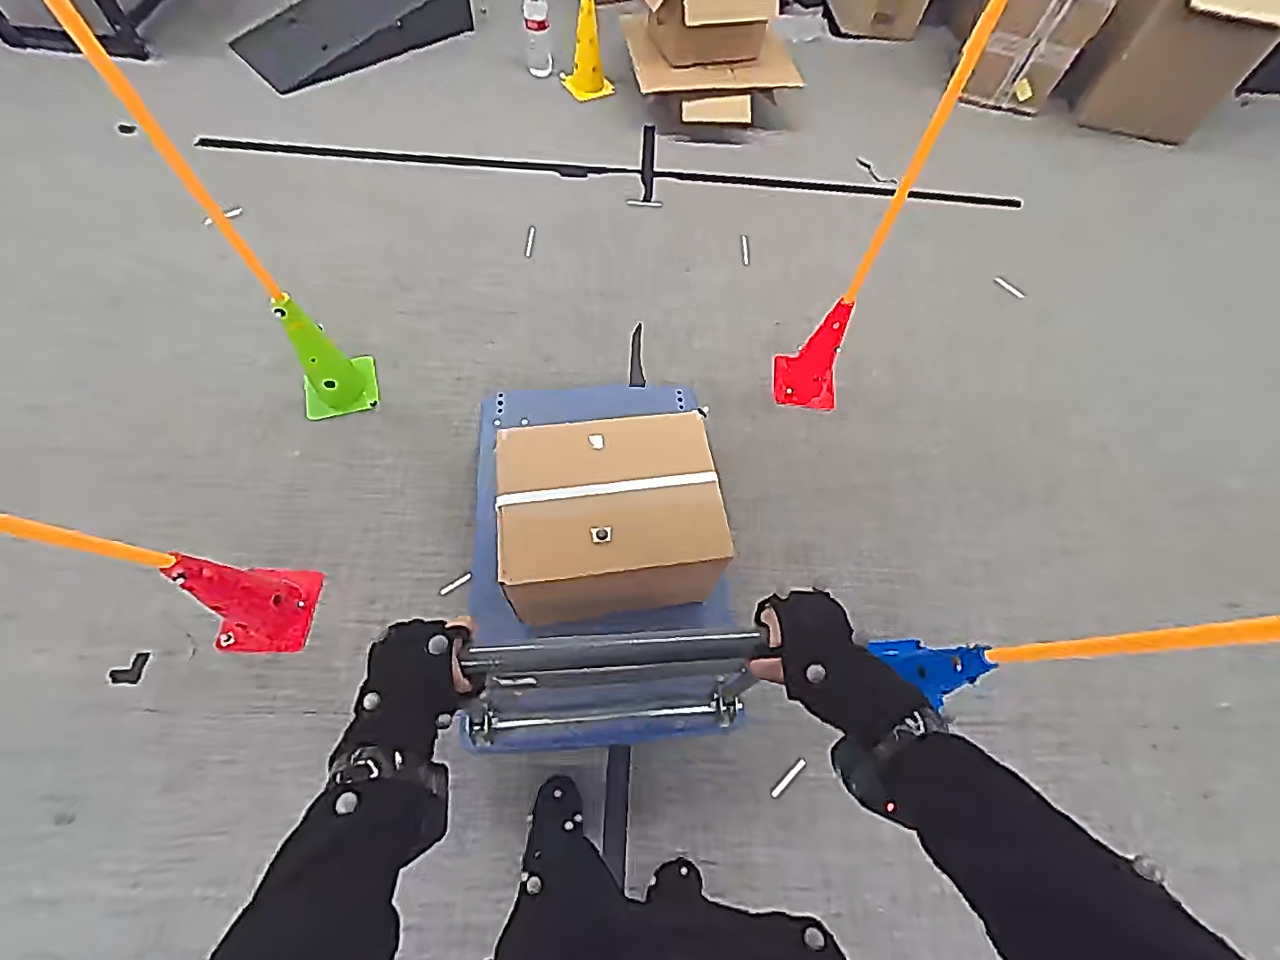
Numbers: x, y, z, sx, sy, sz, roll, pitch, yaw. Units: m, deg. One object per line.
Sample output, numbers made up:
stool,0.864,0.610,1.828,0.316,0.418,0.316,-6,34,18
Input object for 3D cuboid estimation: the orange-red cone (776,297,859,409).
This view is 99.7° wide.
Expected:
orange-red cone,0.556,-0.397,1.595,0.199,0.360,0.198,9,63,-1

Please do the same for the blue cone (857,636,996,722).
blue cone,0.658,0.416,1.197,0.193,0.380,0.192,0,61,-5
